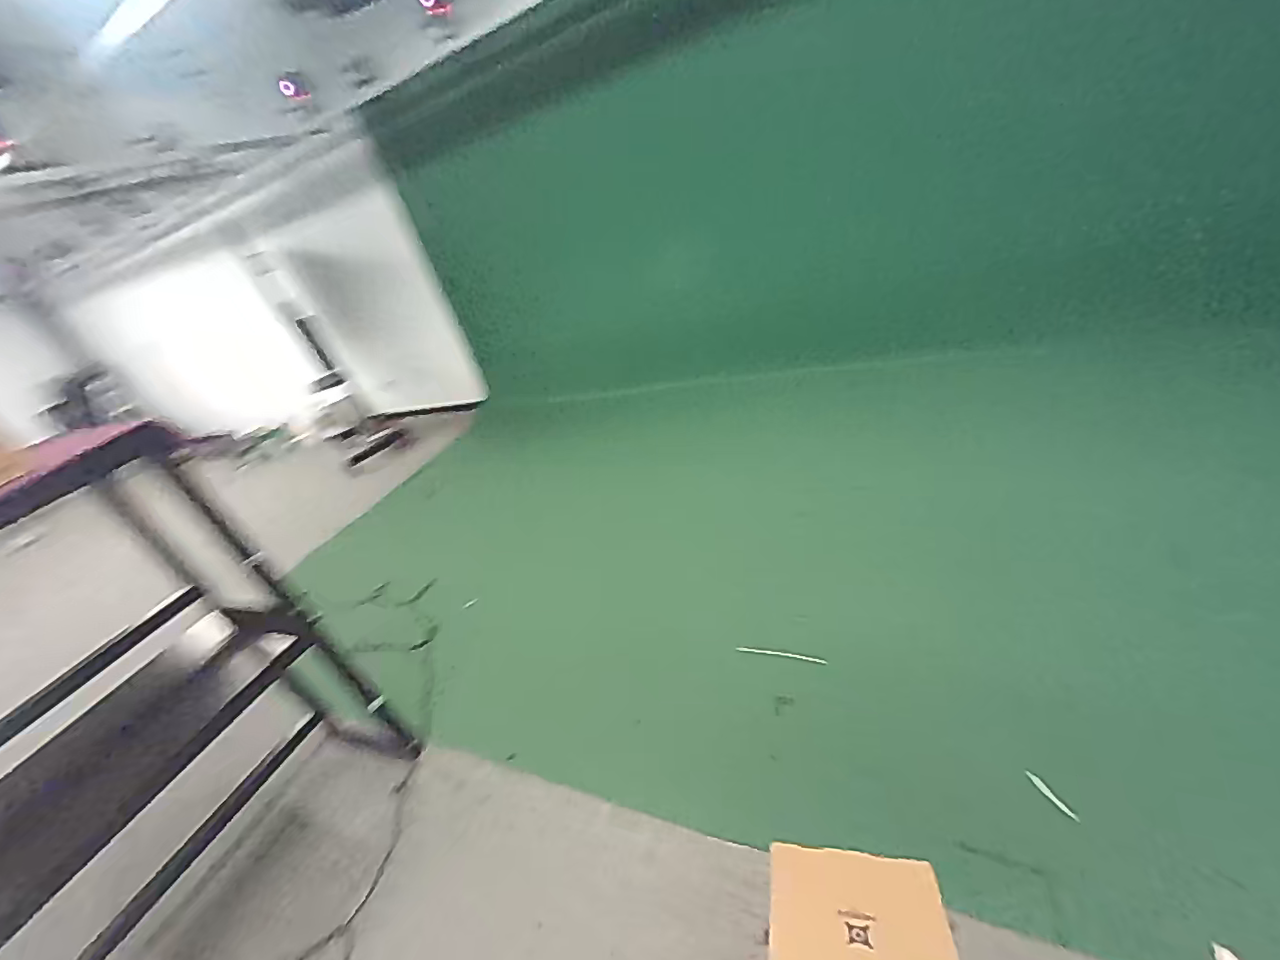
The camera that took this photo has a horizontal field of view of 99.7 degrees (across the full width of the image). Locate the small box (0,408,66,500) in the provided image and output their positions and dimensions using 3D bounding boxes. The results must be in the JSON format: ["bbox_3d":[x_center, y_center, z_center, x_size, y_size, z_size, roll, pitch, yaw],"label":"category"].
[{"bbox_3d":[-1.503,-0.046,1.248,0.179,0.176,0.168,-4,32,29],"label":"small box"}]

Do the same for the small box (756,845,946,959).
[{"bbox_3d":[0.204,0.505,0.522,0.168,0.176,0.179,-3,11,16],"label":"small box"}]
